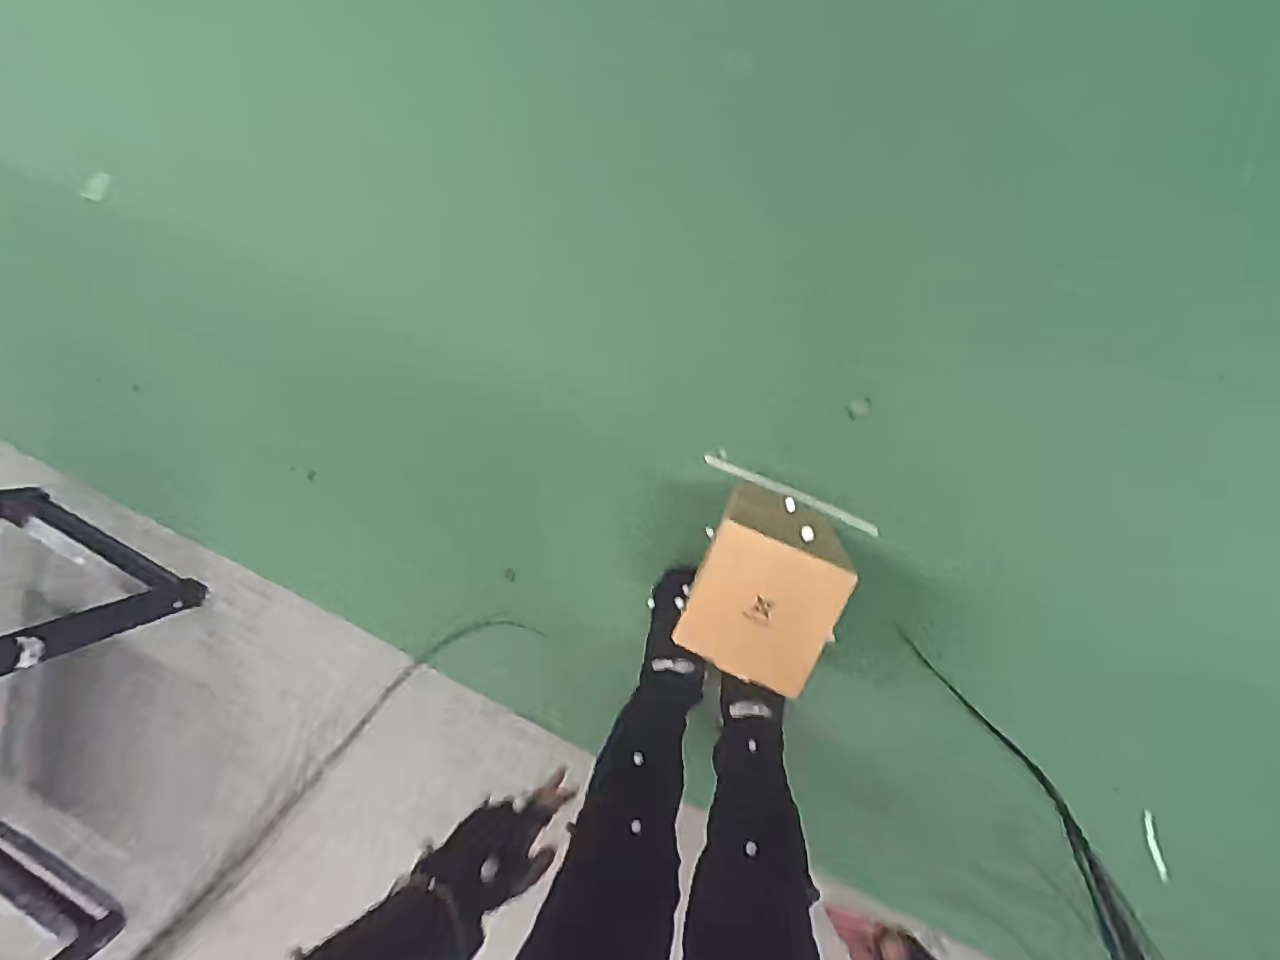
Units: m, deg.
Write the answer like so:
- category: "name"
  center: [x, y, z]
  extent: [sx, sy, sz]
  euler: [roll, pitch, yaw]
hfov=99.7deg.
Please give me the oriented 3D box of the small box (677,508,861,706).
- category: "small box"
  center: [0.165, 0.153, 0.722]
  extent: [0.168, 0.176, 0.179]
  euler: [24, 101, 9]

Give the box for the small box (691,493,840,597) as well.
- category: "small box"
  center: [0.199, 0.136, 0.880]
  extent: [0.168, 0.176, 0.179]
  euler: [26, 102, 9]
